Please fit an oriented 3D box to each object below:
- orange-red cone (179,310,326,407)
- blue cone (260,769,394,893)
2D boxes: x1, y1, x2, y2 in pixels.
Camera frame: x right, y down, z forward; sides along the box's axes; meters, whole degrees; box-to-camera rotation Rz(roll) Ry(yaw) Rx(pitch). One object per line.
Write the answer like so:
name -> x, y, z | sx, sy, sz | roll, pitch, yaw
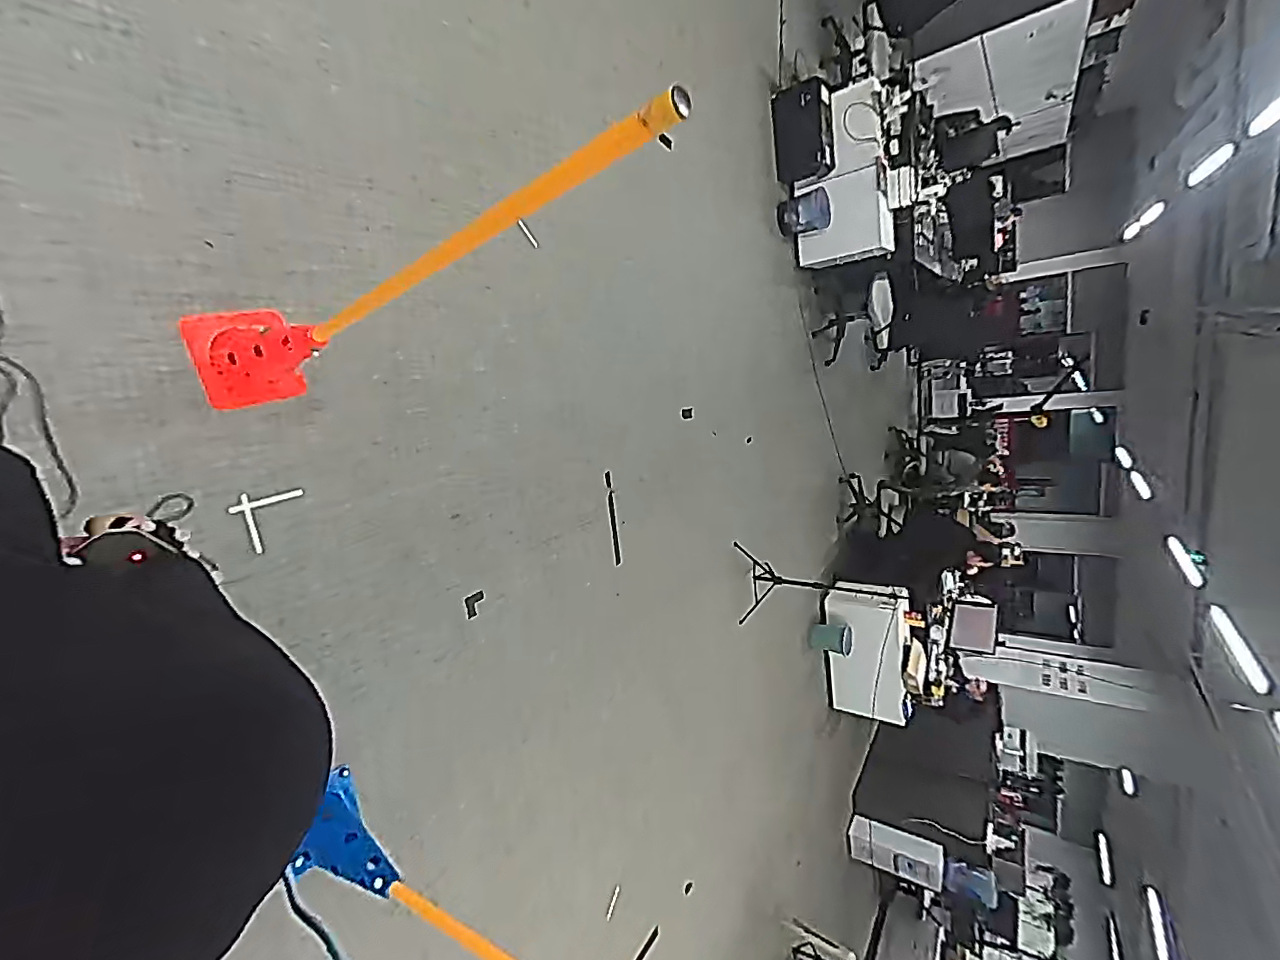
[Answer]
orange-red cone -> -0.732, -0.269, 1.088 | 0.199, 0.360, 0.198 | -29, 113, -49
blue cone -> -0.666, 0.833, 1.213 | 0.193, 0.380, 0.192 | -18, 104, -53
